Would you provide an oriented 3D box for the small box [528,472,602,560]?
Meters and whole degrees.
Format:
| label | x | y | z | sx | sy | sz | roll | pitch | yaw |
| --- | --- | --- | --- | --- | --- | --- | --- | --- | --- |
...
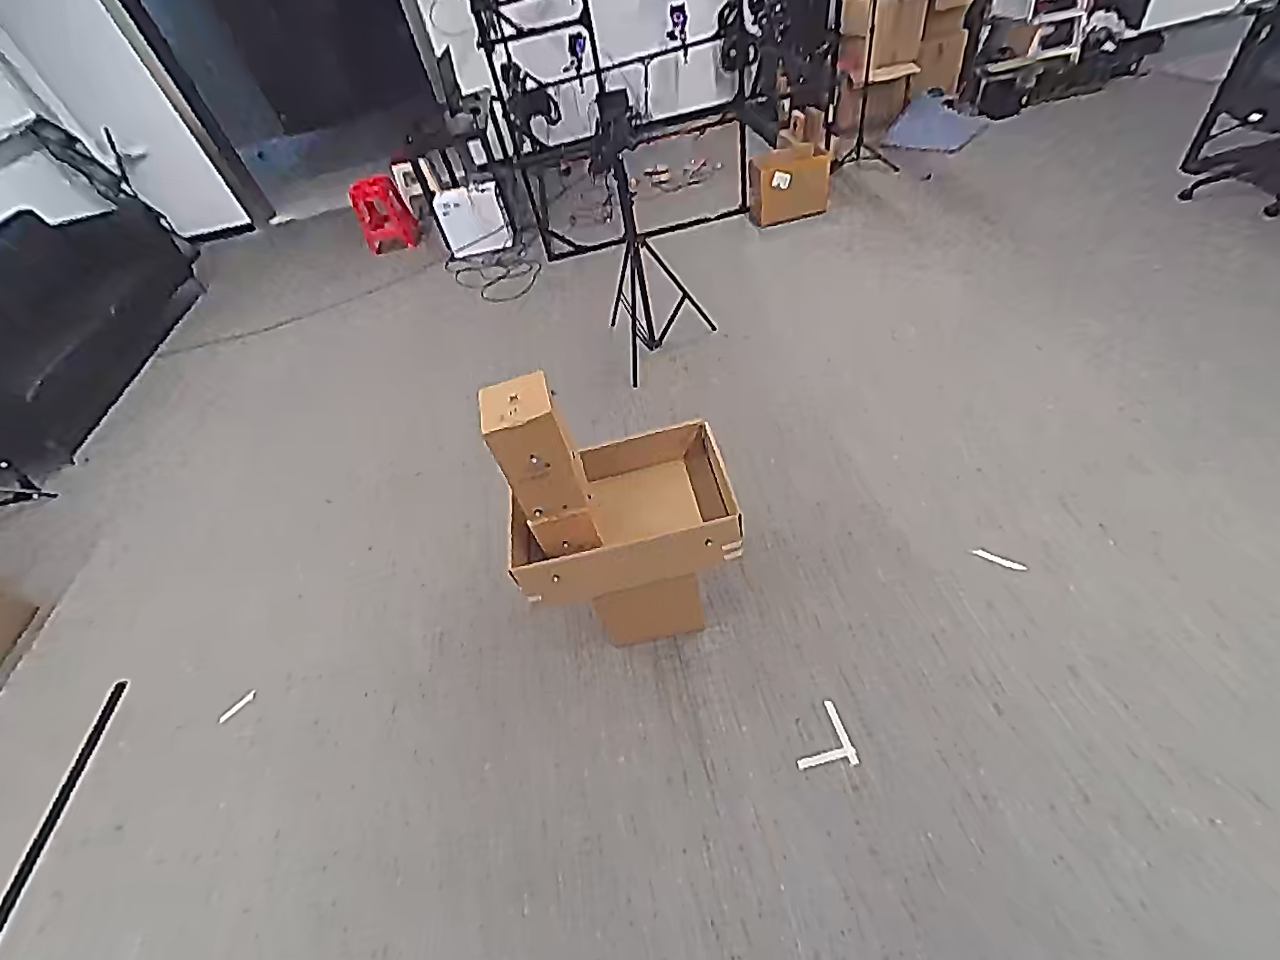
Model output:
| label | x | y | z | sx | sy | sz | roll | pitch | yaw |
| --- | --- | --- | --- | --- | --- | --- | --- | --- | --- |
| small box | -0.215 | 0.099 | 1.543 | 0.168 | 0.176 | 0.179 | -16 | 47 | 1 |

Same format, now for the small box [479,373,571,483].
| label | x | y | z | sx | sy | sz | roll | pitch | yaw |
| --- | --- | --- | --- | --- | --- | --- | --- | --- | --- |
| small box | -0.278 | -0.124 | 1.310 | 0.168 | 0.176 | 0.179 | -18 | 47 | -1 |

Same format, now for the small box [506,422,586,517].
| label | x | y | z | sx | sy | sz | roll | pitch | yaw |
| --- | --- | --- | --- | --- | --- | --- | --- | --- | --- |
| small box | -0.247 | -0.020 | 1.433 | 0.168 | 0.176 | 0.179 | -15 | 46 | 1 |
